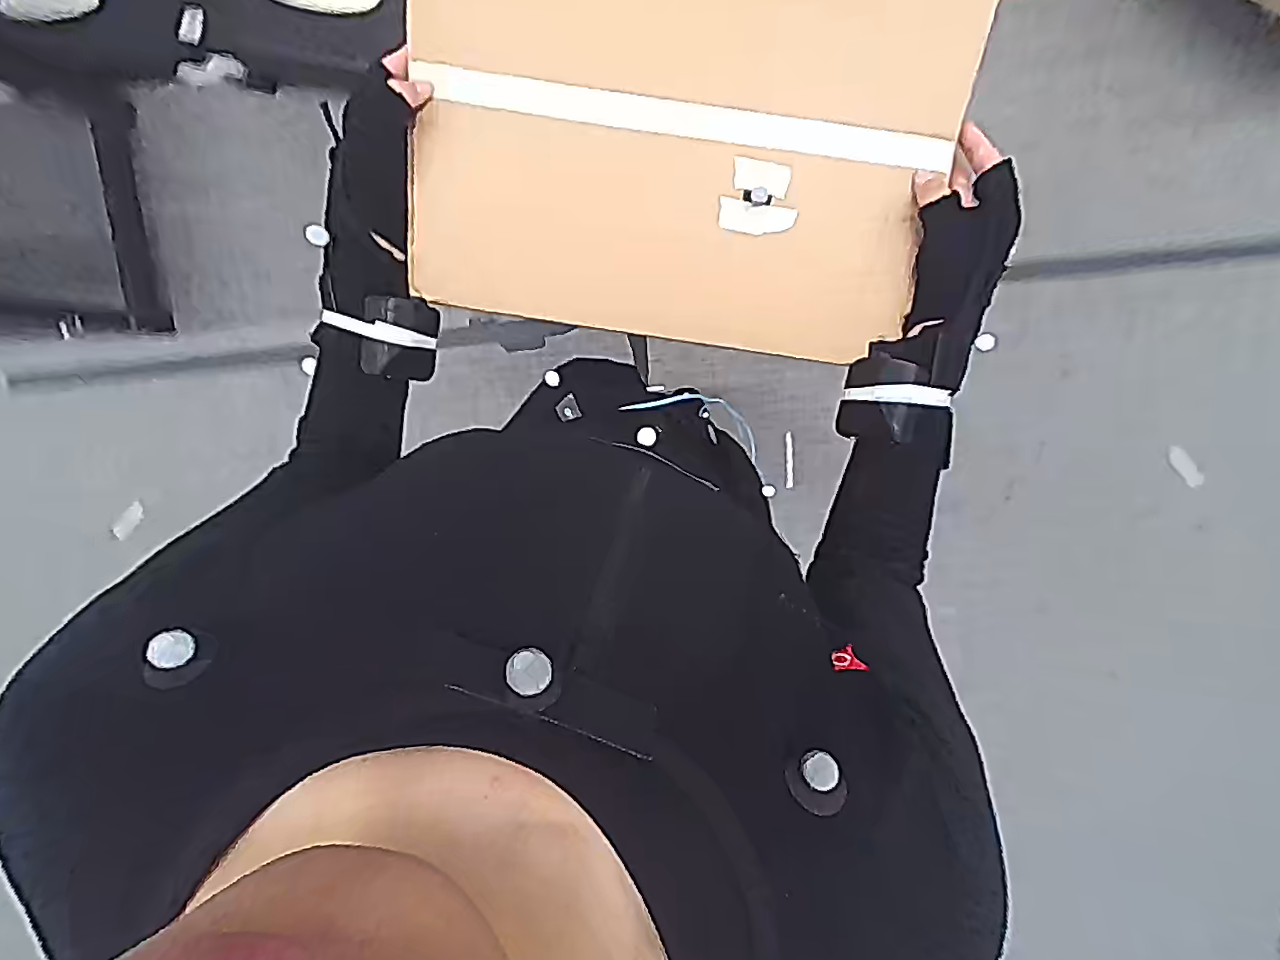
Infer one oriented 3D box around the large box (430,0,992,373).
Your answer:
[{"bbox_3d":[0.041,-0.308,0.558,0.408,0.320,0.320,9,109,-1],"label":"large box"}]
